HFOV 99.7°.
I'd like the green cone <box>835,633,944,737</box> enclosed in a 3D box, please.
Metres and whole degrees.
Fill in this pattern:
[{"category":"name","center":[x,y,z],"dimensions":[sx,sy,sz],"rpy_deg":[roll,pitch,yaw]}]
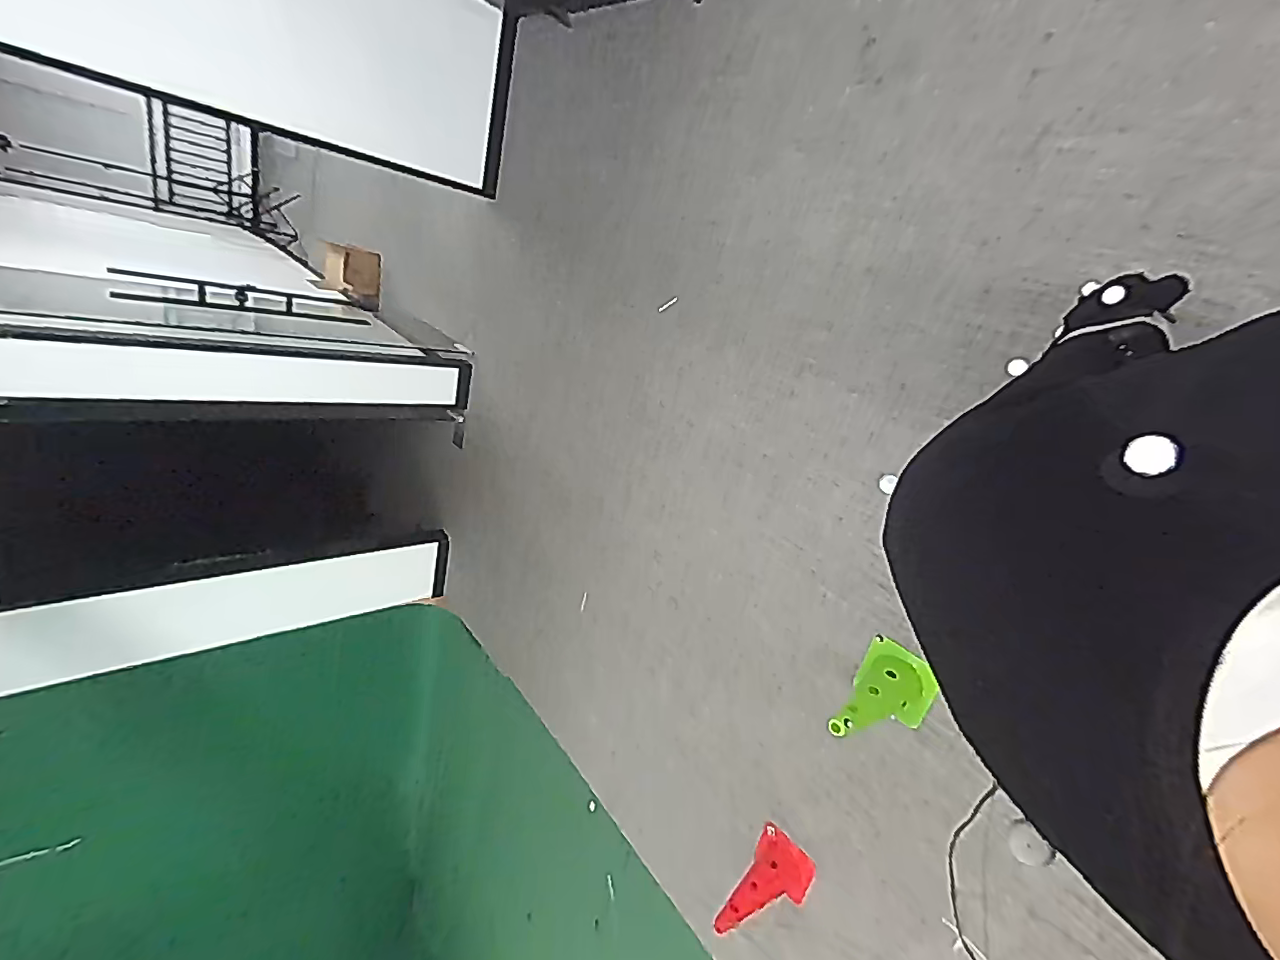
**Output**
[{"category":"green cone","center":[0.603,0.575,1.408],"dimensions":[0.202,0.368,0.200],"rpy_deg":[32,117,39]}]

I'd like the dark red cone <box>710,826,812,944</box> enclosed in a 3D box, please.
[{"category":"dark red cone","center":[0.361,1.324,1.721],"dimensions":[0.202,0.394,0.201],"rpy_deg":[28,115,42]}]
